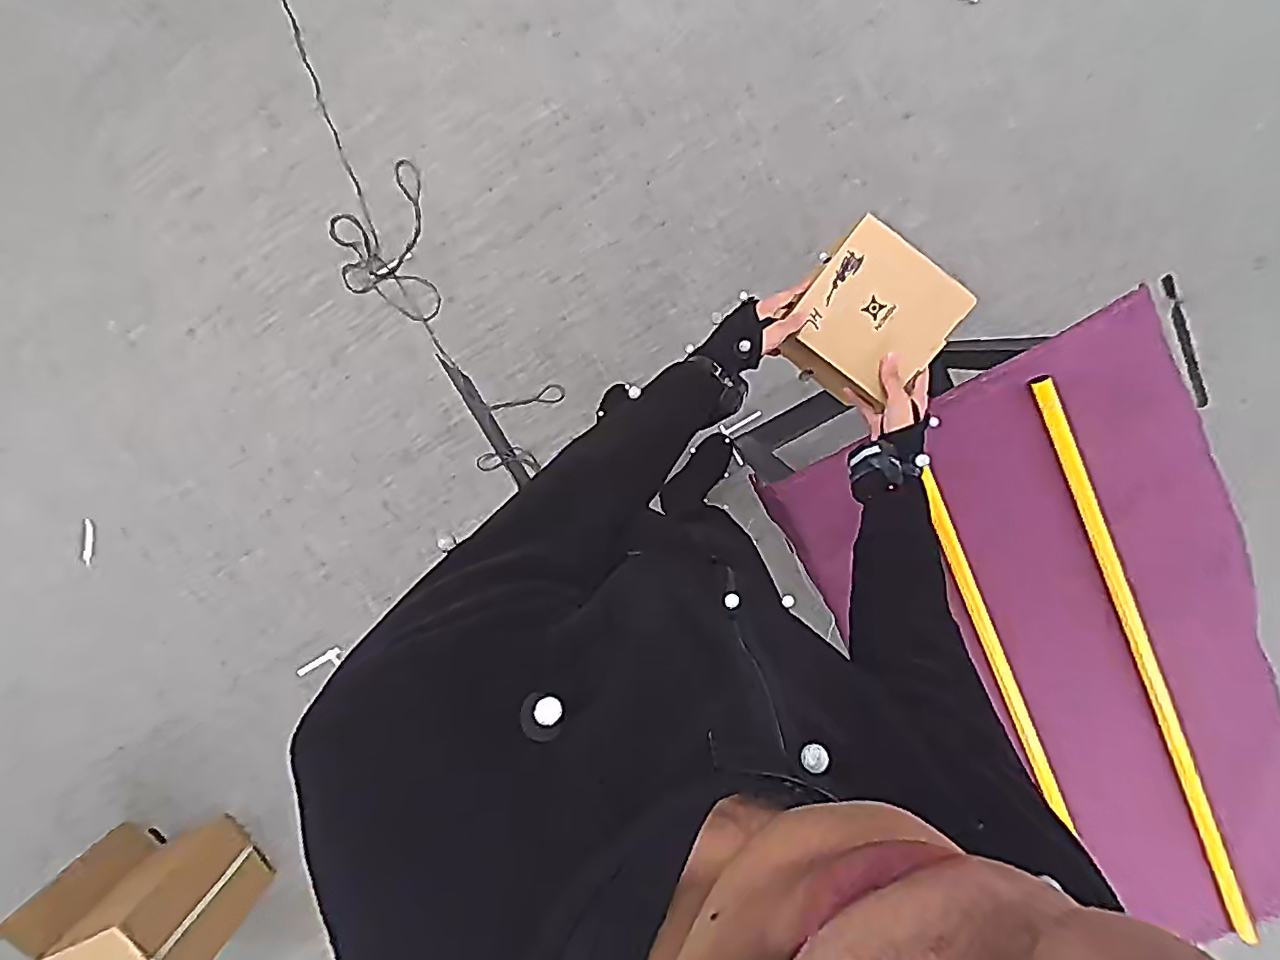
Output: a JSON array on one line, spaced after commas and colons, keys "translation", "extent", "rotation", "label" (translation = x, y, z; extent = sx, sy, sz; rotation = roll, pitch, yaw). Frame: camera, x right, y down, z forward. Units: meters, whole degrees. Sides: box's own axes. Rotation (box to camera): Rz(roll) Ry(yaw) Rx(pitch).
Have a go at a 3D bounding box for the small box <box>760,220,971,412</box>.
[{"translation": [0.292, -0.215, 0.742], "extent": [0.179, 0.176, 0.168], "rotation": [37, 100, -4], "label": "small box"}]
